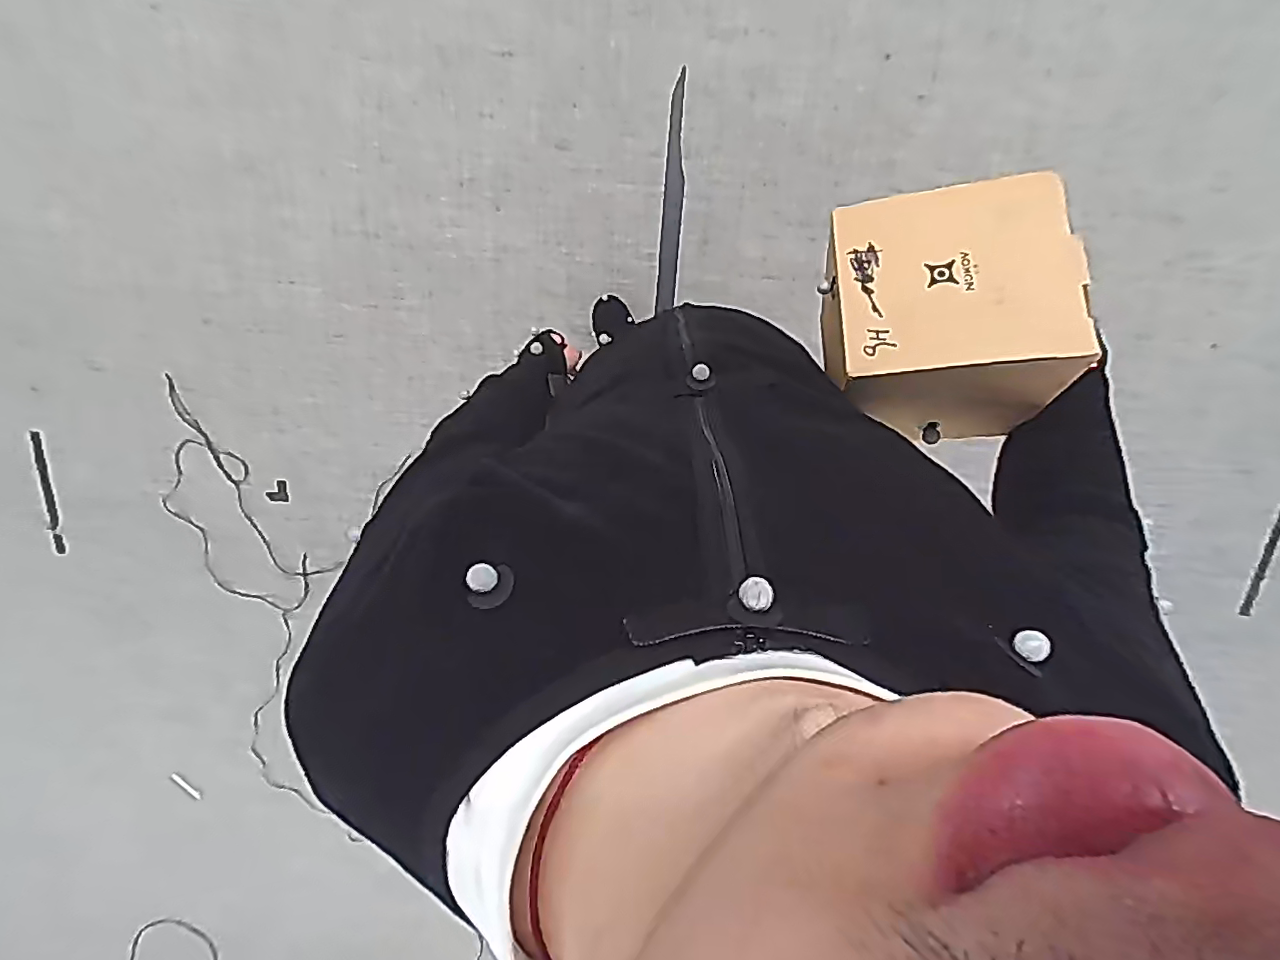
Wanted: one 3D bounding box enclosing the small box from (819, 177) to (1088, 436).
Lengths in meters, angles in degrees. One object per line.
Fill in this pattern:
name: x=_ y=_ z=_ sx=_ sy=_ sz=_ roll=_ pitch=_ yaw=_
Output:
small box: x=0.274 y=-0.149 z=0.520 sx=0.179 sy=0.176 sz=0.168 roll=-2 pitch=73 yaw=14
